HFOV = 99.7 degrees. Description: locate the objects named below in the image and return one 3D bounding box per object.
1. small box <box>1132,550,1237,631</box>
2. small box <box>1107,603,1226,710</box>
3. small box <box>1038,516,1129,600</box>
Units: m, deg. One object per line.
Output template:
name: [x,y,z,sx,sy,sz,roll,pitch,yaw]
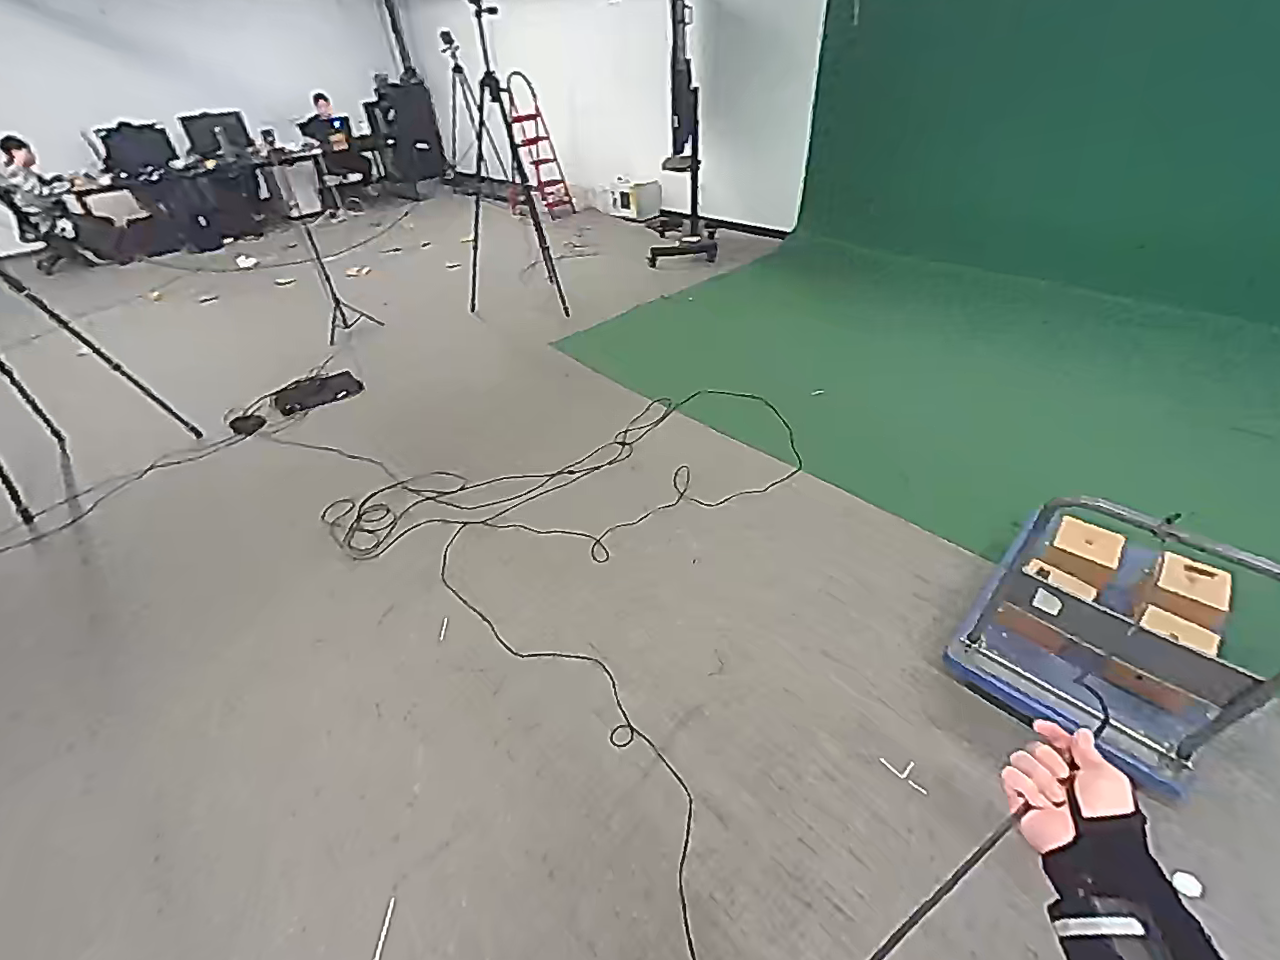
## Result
small box: [1.613,0.347,1.608,0.168,0.176,0.179,26,50,33]
small box: [1.422,0.479,1.469,0.179,0.176,0.168,-34,48,-30]
small box: [1.423,0.253,1.744,0.168,0.176,0.179,27,49,32]
